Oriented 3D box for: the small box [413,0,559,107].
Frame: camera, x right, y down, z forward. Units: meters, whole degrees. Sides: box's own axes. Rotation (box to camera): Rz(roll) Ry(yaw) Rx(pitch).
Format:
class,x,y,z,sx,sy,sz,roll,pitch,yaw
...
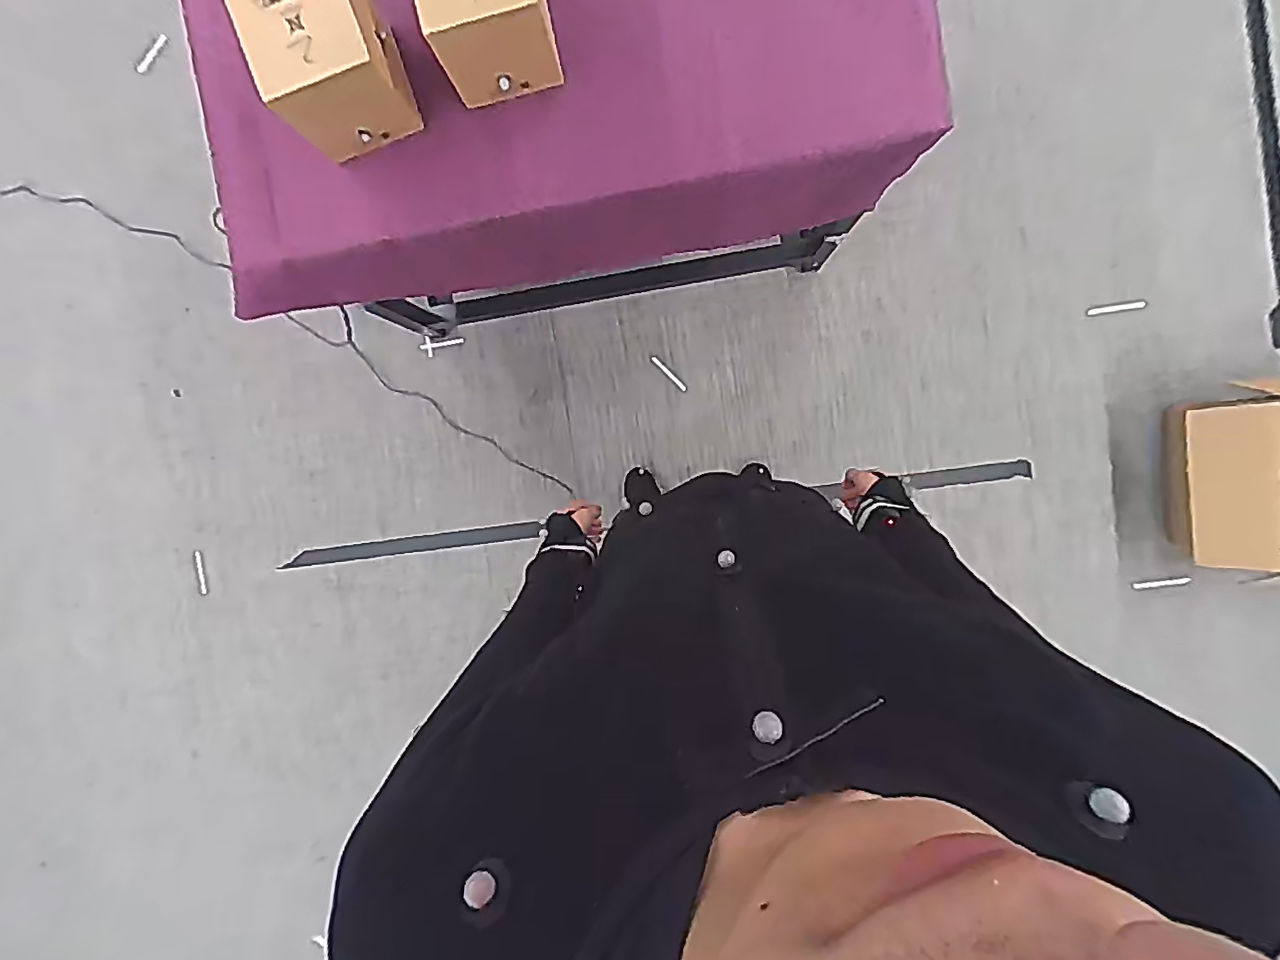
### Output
class,x,y,z,sx,sy,sz,roll,pitch,yaw
small box,-0.229,-0.704,0.796,0.168,0.176,0.179,-12,94,4
